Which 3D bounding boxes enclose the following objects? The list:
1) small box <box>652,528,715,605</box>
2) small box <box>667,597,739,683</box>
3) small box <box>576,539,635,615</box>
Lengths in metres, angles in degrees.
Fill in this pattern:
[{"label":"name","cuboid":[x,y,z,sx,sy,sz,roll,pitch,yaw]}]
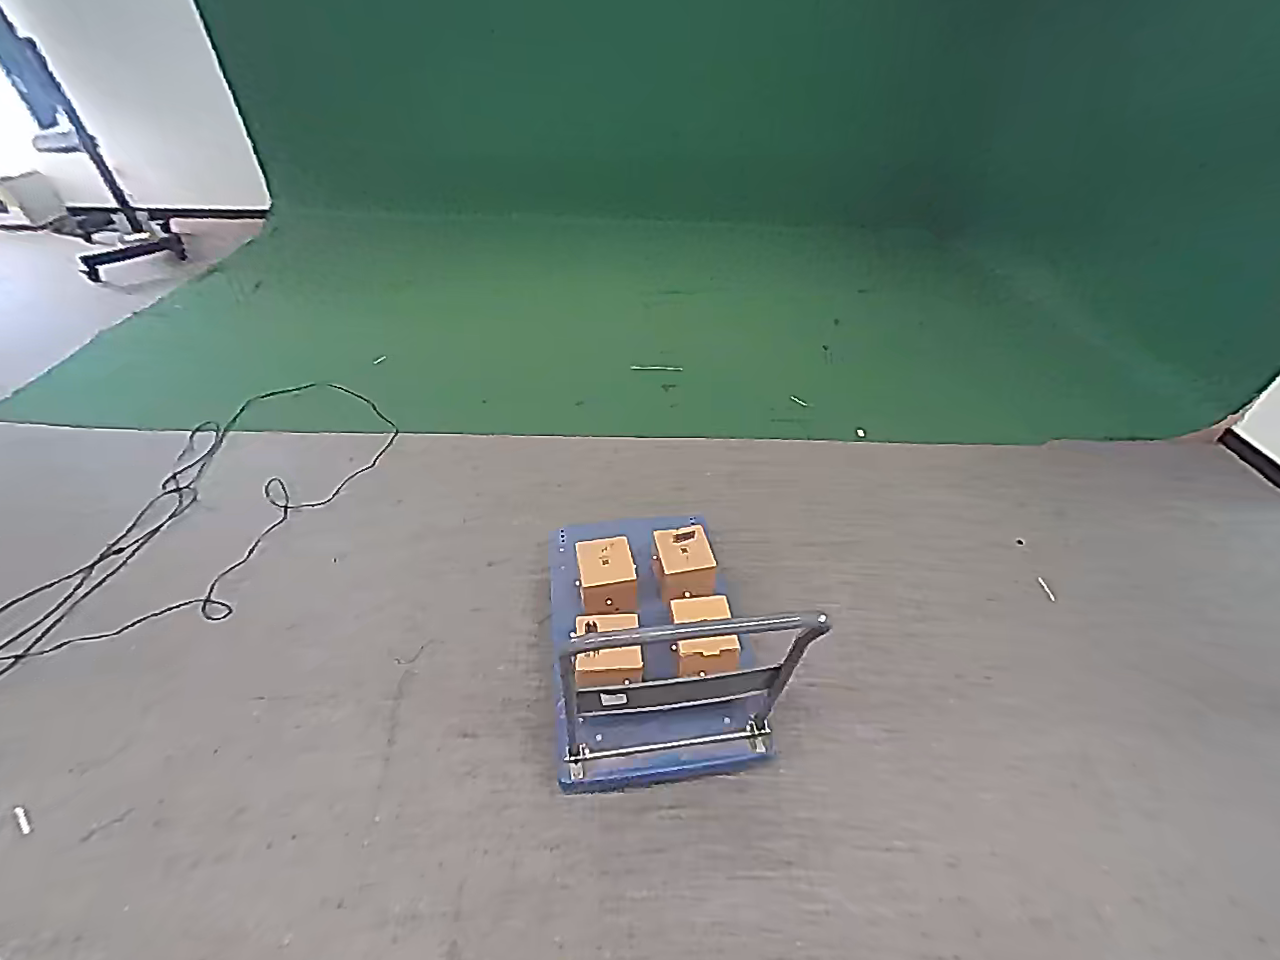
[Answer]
[{"label":"small box","cuboid":[0.135,0.283,1.771,0.168,0.176,0.179,-8,45,-9]},{"label":"small box","cuboid":[0.176,0.467,1.577,0.168,0.176,0.179,-4,44,-7]},{"label":"small box","cuboid":[-0.110,0.315,1.728,0.168,0.176,0.179,-7,44,-10]}]
